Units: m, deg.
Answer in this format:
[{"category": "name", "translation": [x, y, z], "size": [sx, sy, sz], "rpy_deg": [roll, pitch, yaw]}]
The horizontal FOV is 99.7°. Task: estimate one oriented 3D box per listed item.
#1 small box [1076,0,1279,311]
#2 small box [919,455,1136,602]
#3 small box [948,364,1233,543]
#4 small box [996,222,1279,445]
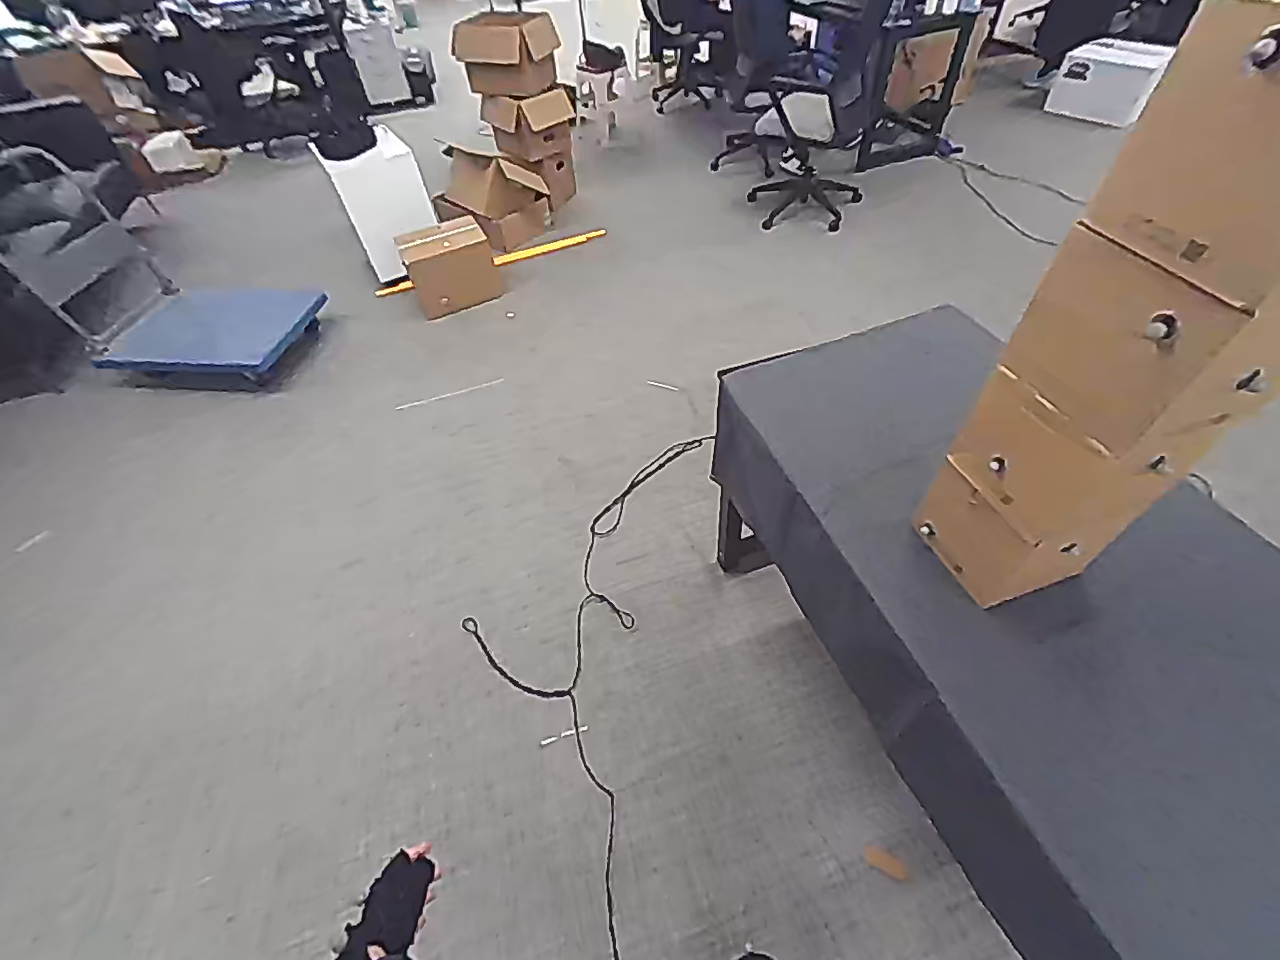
[{"category": "small box", "translation": [0.504, -0.256, 0.415], "size": [0.179, 0.176, 0.168], "rpy_deg": [-15, 50, -7]}, {"category": "small box", "translation": [0.541, 0.054, 0.793], "size": [0.179, 0.176, 0.168], "rpy_deg": [-17, 50, -10]}, {"category": "small box", "translation": [0.529, -0.050, 0.670], "size": [0.179, 0.176, 0.168], "rpy_deg": [-17, 50, -8]}, {"category": "small box", "translation": [0.514, -0.154, 0.543], "size": [0.168, 0.176, 0.179], "rpy_deg": [-16, 50, -8]}]
